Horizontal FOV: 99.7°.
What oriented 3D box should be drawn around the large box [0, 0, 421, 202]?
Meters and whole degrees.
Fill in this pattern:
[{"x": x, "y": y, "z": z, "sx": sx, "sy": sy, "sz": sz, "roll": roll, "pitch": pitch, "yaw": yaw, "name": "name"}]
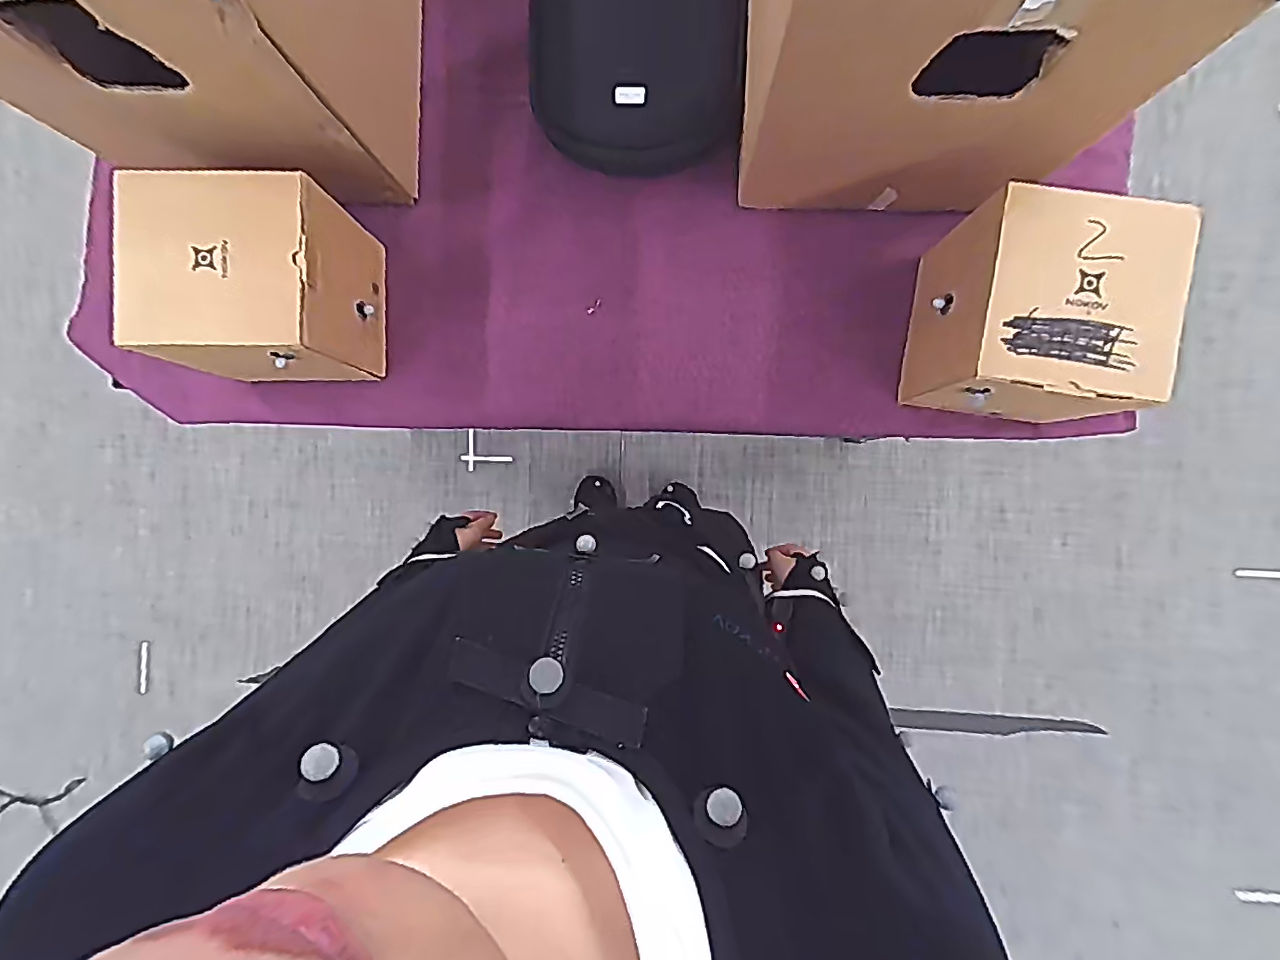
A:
[{"x": -0.421, "y": -0.540, "z": 0.518, "sx": 0.320, "sy": 0.320, "sz": 0.408, "roll": 1, "pitch": 93, "yaw": 1, "name": "large box"}]
